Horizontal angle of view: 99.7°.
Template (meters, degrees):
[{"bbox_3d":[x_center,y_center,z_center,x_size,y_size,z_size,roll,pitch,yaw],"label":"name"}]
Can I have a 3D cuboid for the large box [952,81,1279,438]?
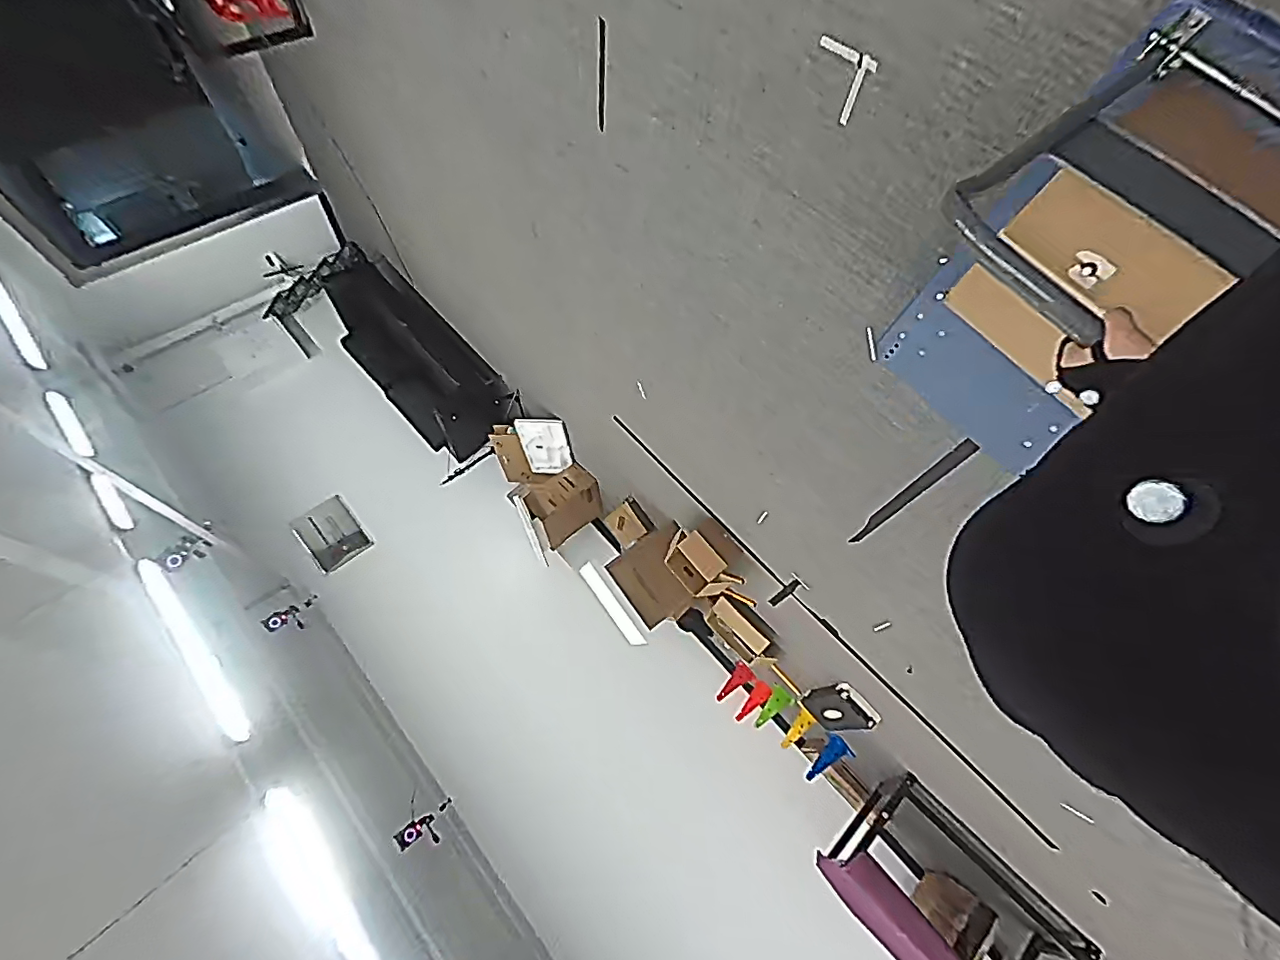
[{"bbox_3d":[0.852,-0.355,0.898,0.408,0.320,0.320,49,158,13],"label":"large box"}]
